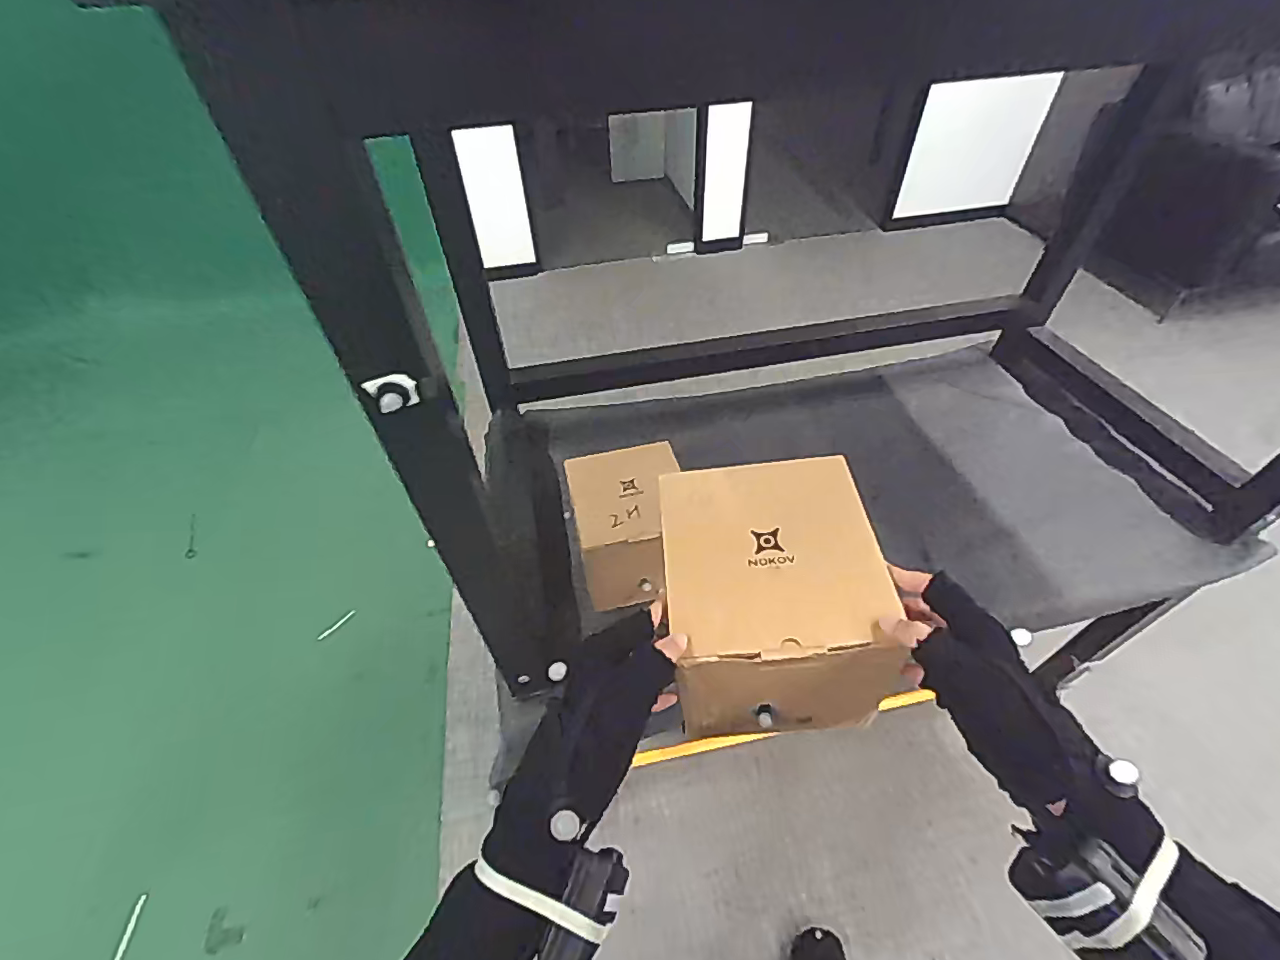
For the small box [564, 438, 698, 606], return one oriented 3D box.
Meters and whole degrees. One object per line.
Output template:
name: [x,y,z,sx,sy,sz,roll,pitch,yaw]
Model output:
small box: [-0.017,0.064,0.831,0.168,0.176,0.179,-12,48,-7]
